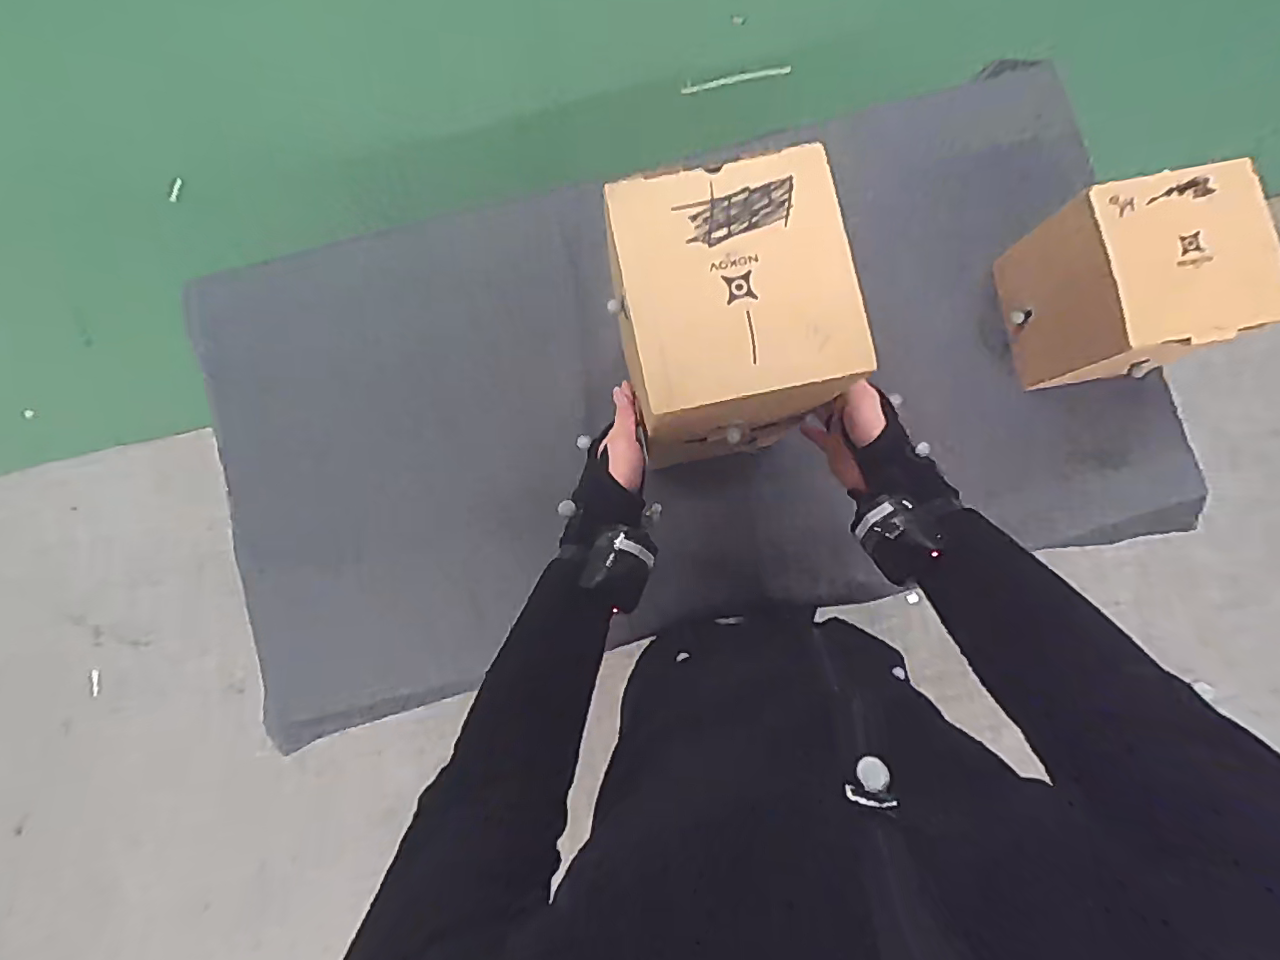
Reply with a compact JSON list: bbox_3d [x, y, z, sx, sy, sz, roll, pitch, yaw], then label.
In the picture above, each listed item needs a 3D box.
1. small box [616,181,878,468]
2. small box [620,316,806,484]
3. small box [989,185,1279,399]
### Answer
[{"bbox_3d":[0.076,-0.118,0.477,0.168,0.176,0.179,-12,85,-1],"label":"small box"},{"bbox_3d":[0.076,-0.097,0.640,0.168,0.176,0.179,-13,83,-2],"label":"small box"},{"bbox_3d":[0.554,-0.201,0.635,0.168,0.176,0.179,-11,84,1],"label":"small box"}]
